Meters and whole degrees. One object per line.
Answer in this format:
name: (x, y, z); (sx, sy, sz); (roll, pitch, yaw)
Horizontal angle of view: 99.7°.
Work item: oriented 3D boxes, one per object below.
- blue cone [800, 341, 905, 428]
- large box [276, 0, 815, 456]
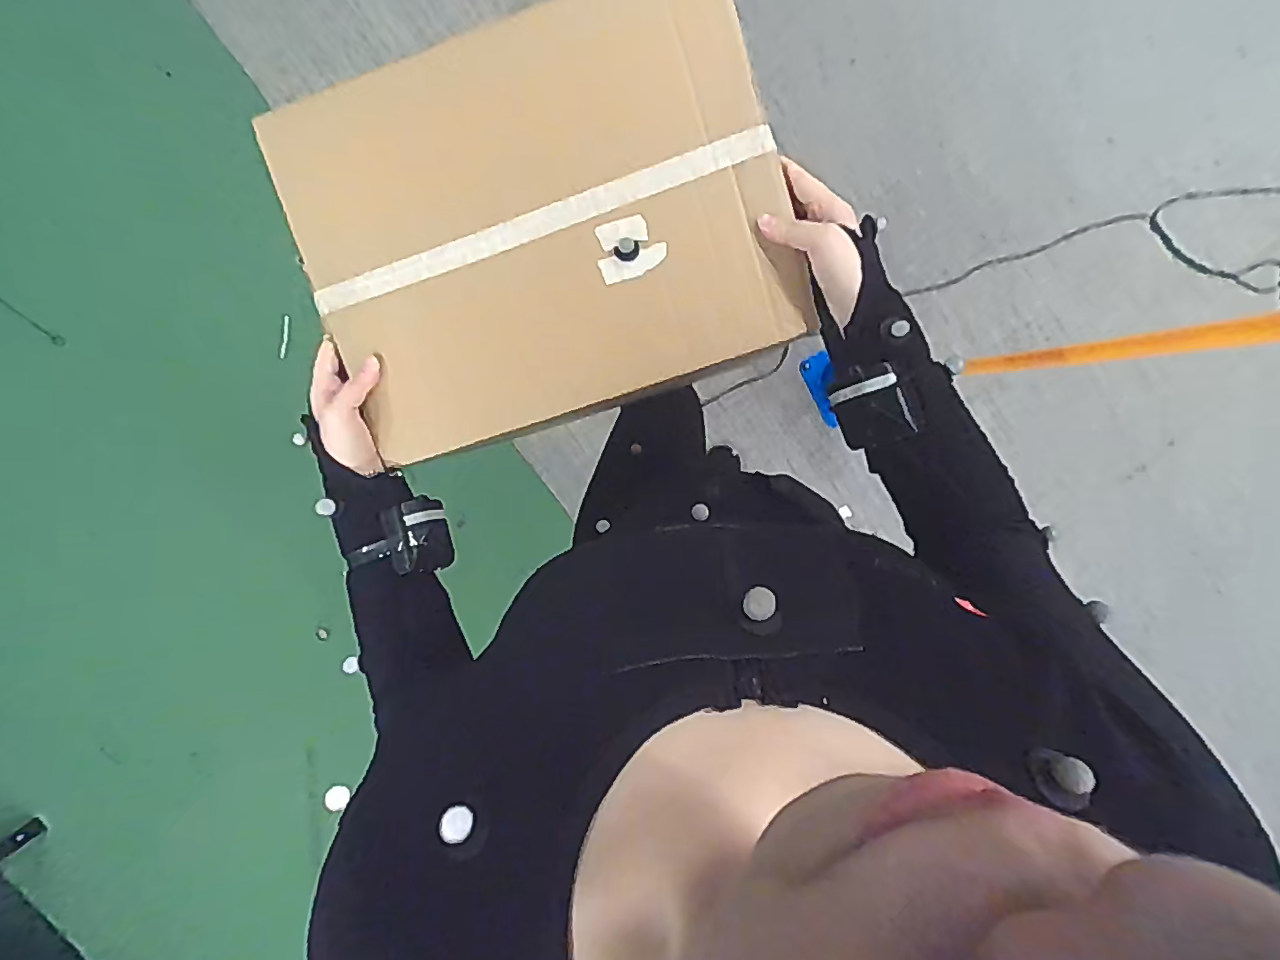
blue cone: (0.529, -0.227, 1.257); (0.192, 0.380, 0.193); (-26, 96, 7)
large box: (-0.077, -0.241, 0.612); (0.408, 0.320, 0.320); (-18, 96, 4)
